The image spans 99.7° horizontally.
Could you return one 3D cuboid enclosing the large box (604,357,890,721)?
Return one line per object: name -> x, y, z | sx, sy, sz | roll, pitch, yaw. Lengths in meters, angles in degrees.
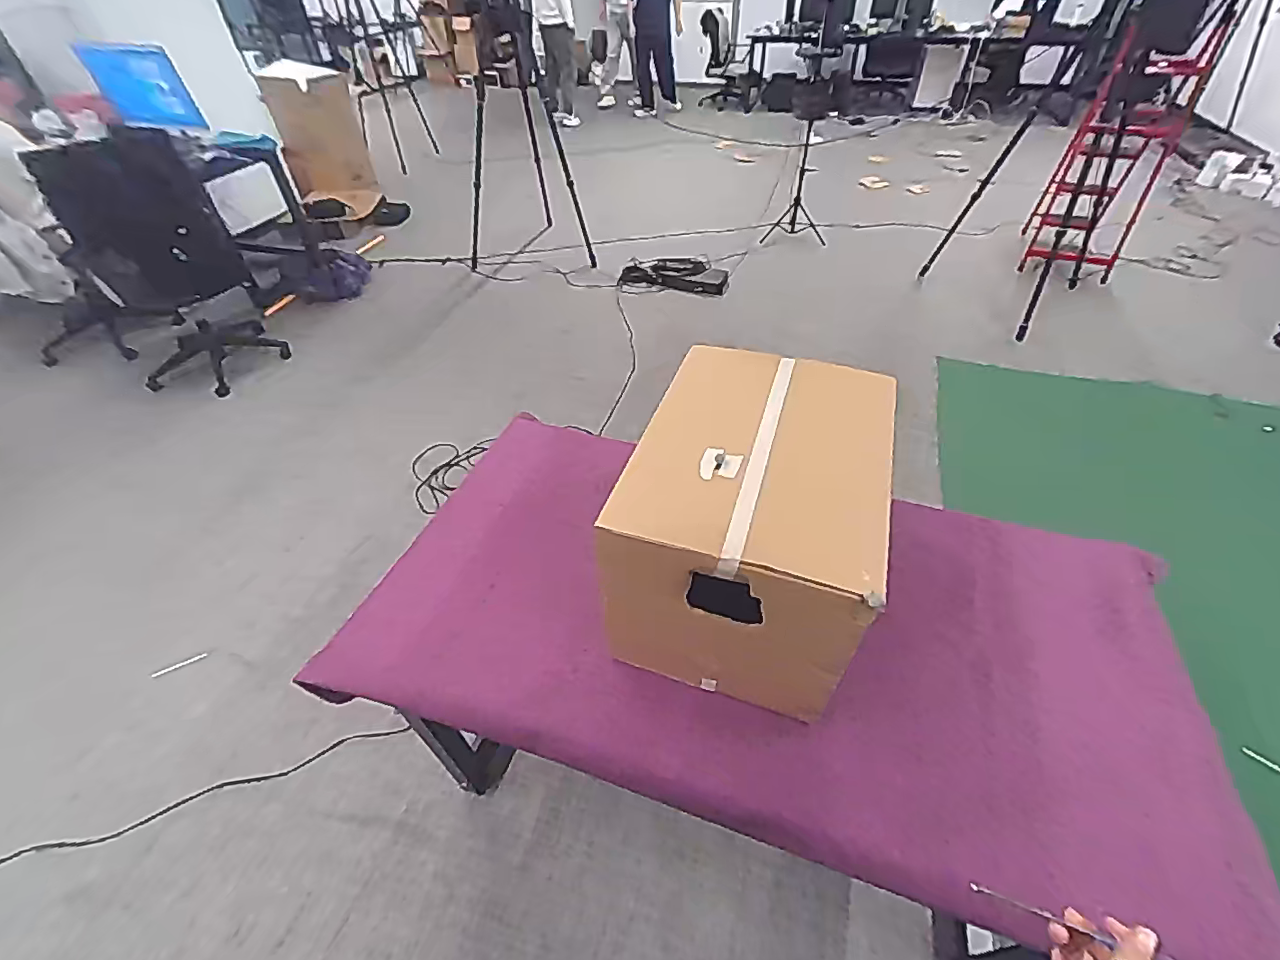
large box -> 0.165, 0.071, 0.821 | 0.320, 0.320, 0.408 | 14, 48, 15
